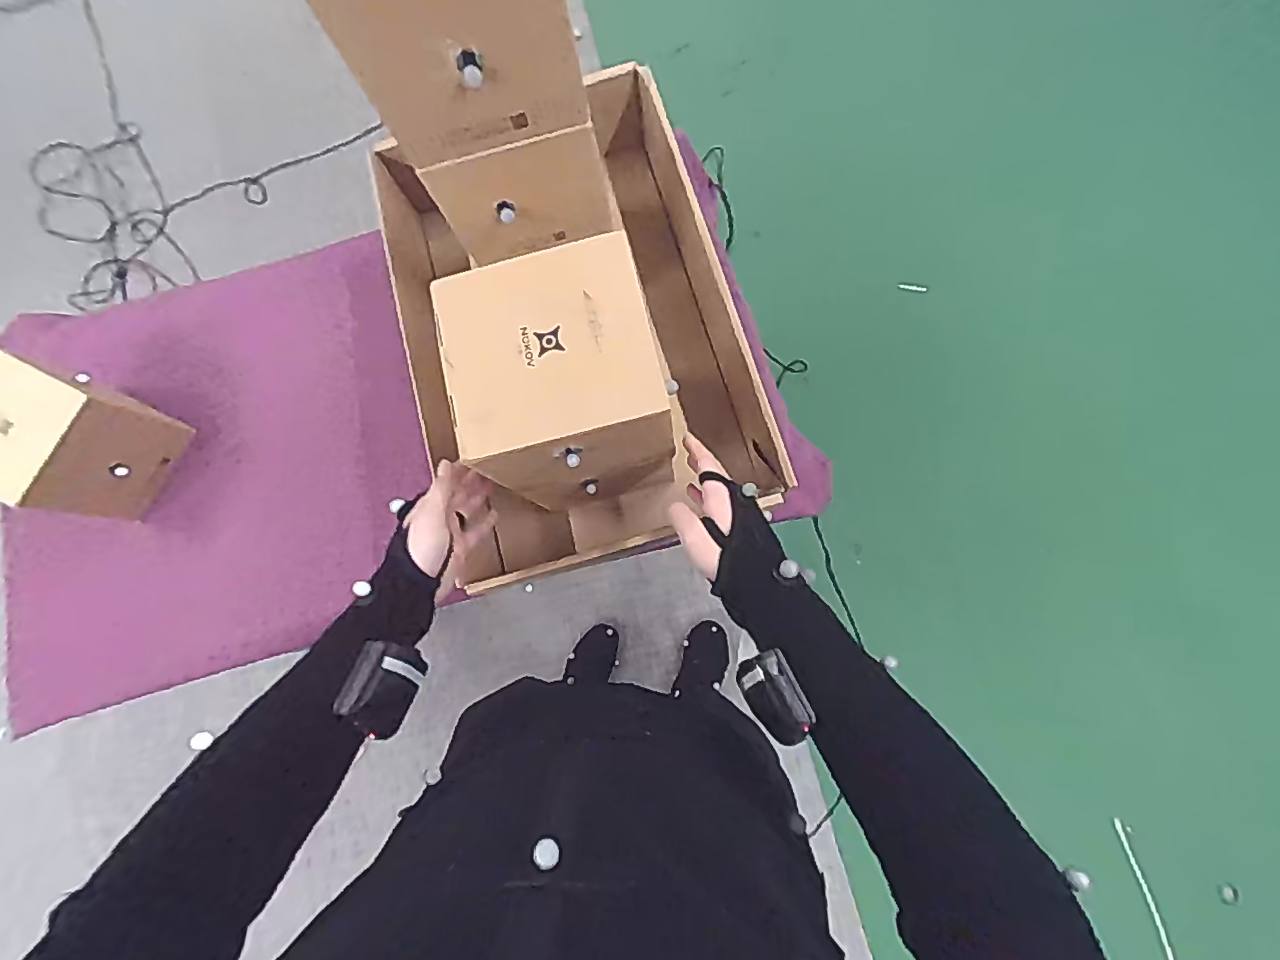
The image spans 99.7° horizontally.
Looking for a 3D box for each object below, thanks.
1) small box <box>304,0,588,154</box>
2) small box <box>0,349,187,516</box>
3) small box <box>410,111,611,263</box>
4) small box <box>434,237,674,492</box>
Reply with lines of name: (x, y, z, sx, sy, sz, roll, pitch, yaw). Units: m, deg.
small box: (-0.145, -0.388, 0.415, 0.168, 0.176, 0.179, -14, 80, 1)
small box: (-0.823, -0.058, 0.777, 0.179, 0.176, 0.168, 25, 81, 8)
small box: (-0.134, -0.357, 0.576, 0.168, 0.176, 0.179, -14, 79, 1)
small box: (-0.070, -0.094, 0.521, 0.179, 0.176, 0.168, -13, 79, 2)
